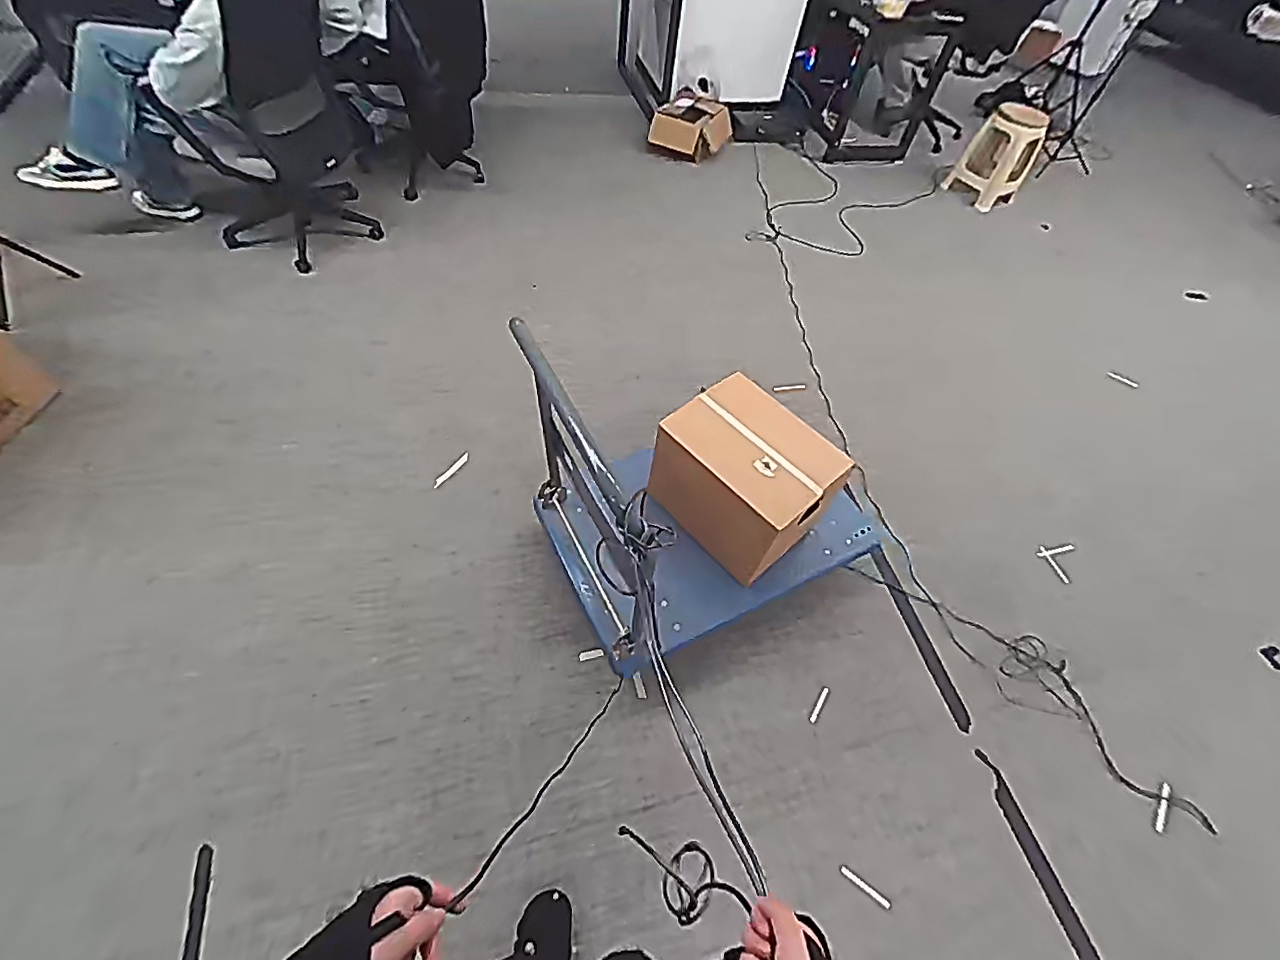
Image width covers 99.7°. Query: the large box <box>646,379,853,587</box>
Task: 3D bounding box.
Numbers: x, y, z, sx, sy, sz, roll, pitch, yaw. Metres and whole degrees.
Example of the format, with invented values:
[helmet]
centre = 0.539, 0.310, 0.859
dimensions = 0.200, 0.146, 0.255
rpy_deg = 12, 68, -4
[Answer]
[large box]
centre = 0.271, 0.005, 1.467
dimensions = 0.320, 0.320, 0.408
rpy_deg = -35, 66, -26
